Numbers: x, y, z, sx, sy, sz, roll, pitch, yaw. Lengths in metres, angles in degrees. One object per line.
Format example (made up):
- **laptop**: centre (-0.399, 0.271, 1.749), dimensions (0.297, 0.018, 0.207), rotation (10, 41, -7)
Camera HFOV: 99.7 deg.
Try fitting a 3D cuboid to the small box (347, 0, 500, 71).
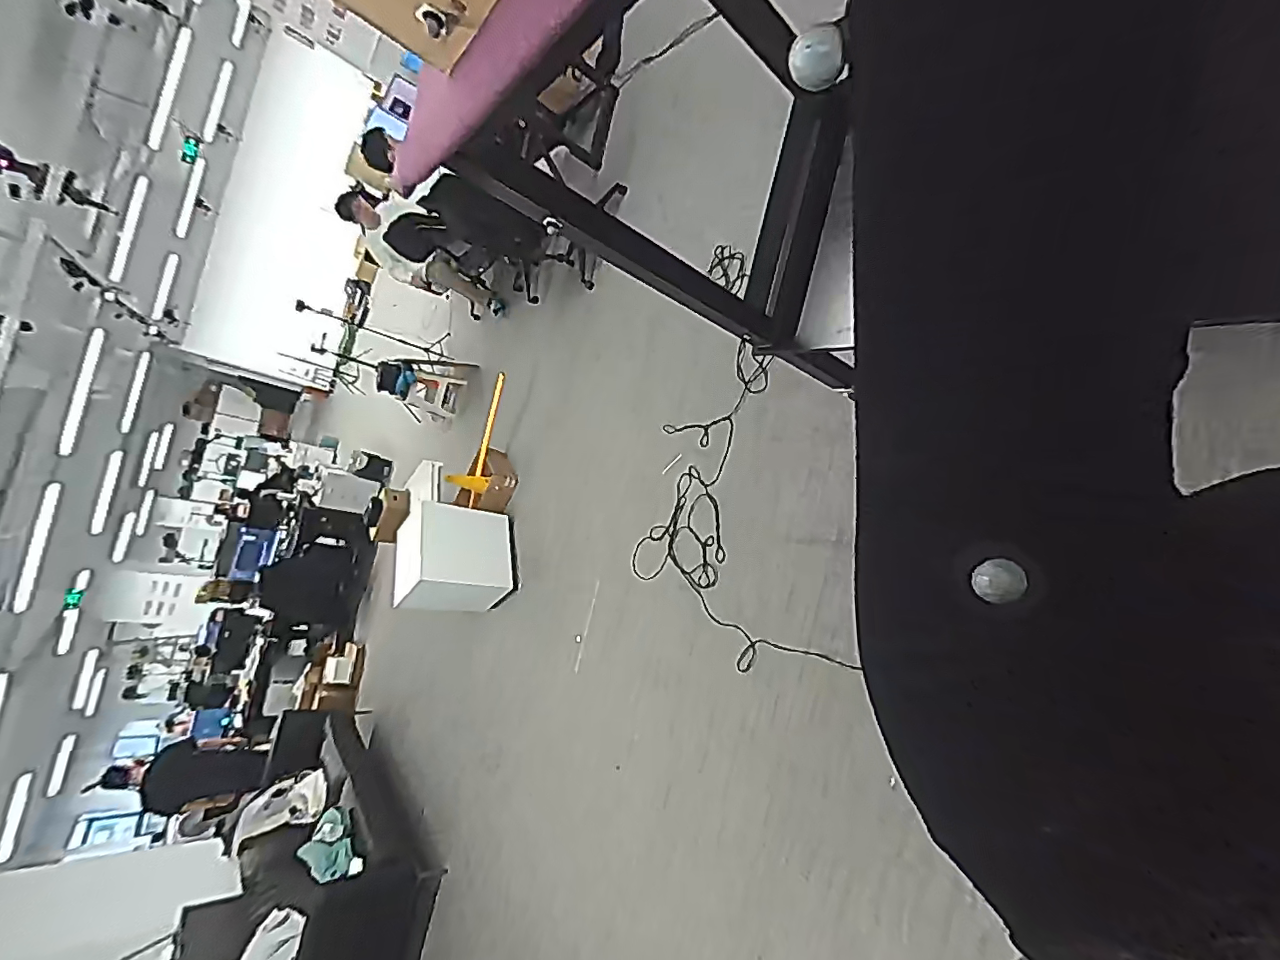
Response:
- **small box**: centre (-0.211, -0.542, 0.496), dimensions (0.168, 0.176, 0.179), rotation (6, 84, 53)
